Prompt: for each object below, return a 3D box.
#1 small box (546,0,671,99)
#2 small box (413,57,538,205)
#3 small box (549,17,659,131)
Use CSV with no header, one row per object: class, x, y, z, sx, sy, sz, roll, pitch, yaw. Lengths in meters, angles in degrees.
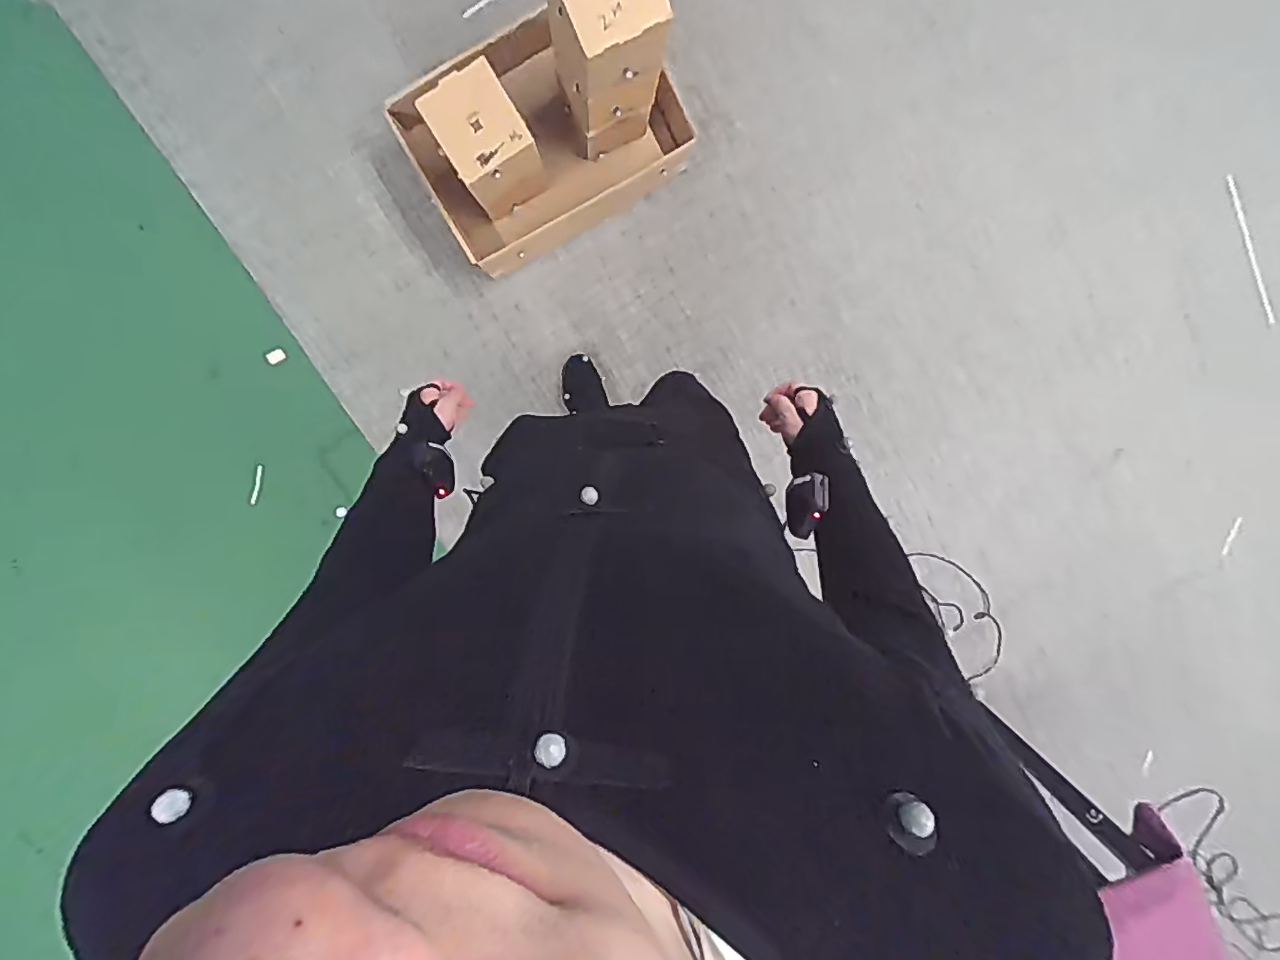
small box,-0.063,-0.833,0.961,0.168,0.176,0.179,-25,105,1
small box,-0.335,-0.716,1.134,0.168,0.176,0.179,-32,103,4
small box,-0.079,-0.873,1.121,0.168,0.176,0.179,-26,105,1
